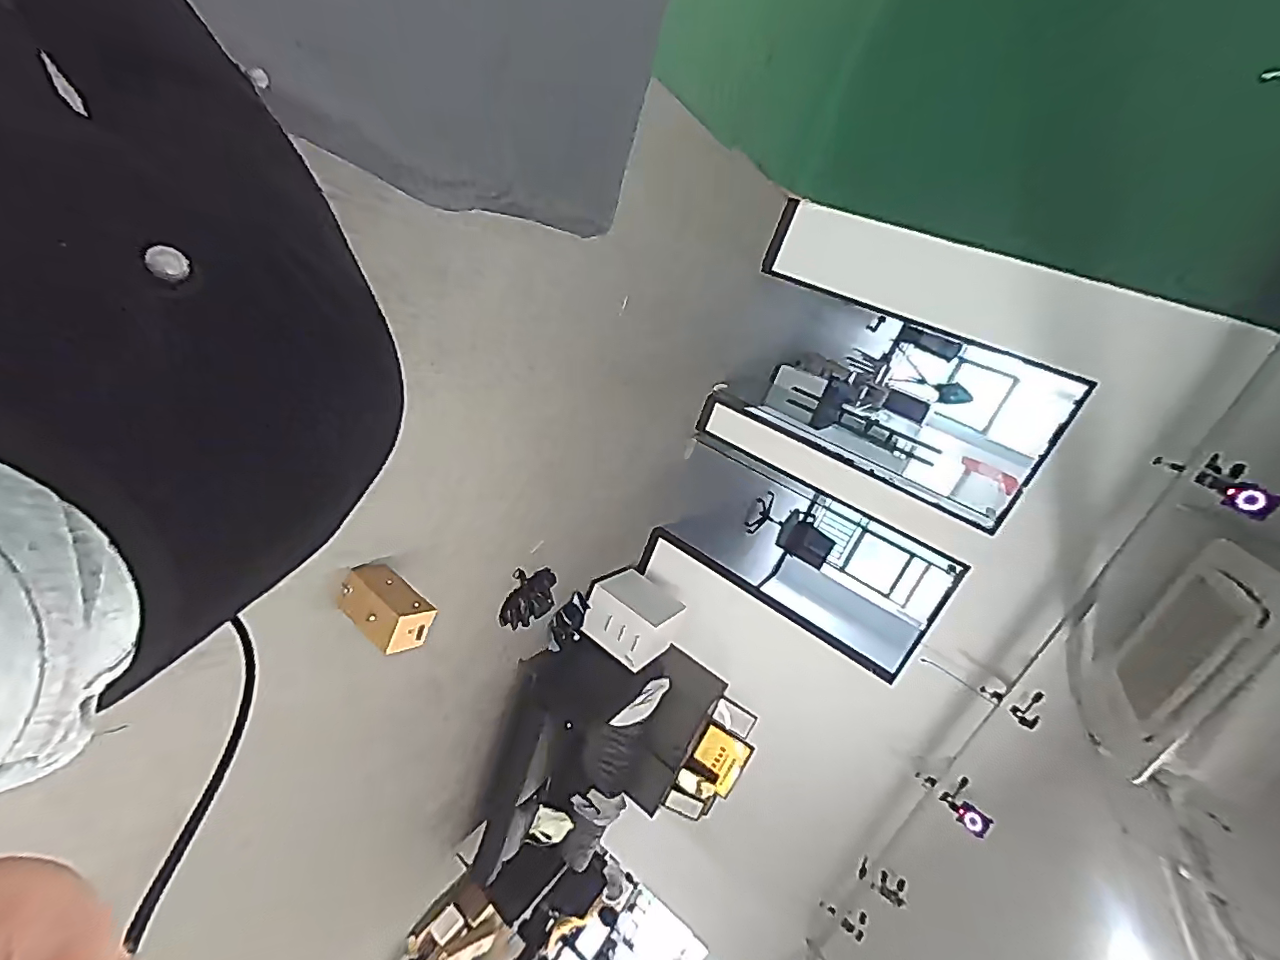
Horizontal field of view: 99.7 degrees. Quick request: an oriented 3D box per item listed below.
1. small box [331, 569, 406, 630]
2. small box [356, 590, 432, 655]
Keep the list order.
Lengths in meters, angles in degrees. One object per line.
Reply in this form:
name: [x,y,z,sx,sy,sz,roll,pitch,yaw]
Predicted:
small box: [-1.076,0.465,2.142,0.179,0.176,0.168,5,112,-63]
small box: [-0.945,0.540,2.076,0.179,0.176,0.168,7,110,-64]
